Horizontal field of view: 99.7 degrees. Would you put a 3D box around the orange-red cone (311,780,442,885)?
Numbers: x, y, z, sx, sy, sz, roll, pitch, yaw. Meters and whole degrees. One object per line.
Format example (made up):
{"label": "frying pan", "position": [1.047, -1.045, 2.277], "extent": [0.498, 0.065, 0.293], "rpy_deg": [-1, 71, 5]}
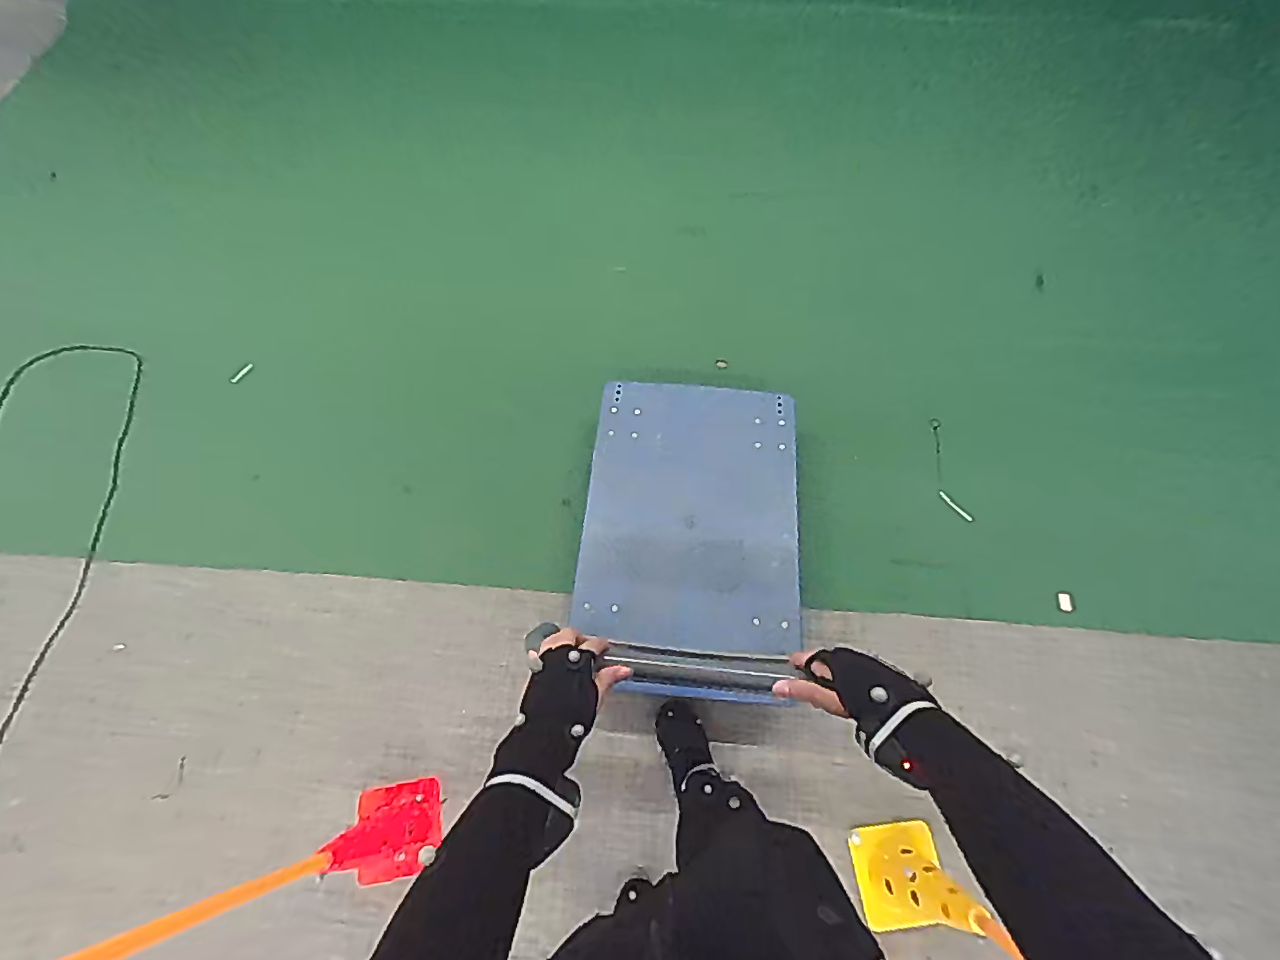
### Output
{"label": "orange-red cone", "position": [-0.584, 0.776, 1.150], "extent": [0.199, 0.360, 0.198], "rpy_deg": [-11, 65, -2]}
